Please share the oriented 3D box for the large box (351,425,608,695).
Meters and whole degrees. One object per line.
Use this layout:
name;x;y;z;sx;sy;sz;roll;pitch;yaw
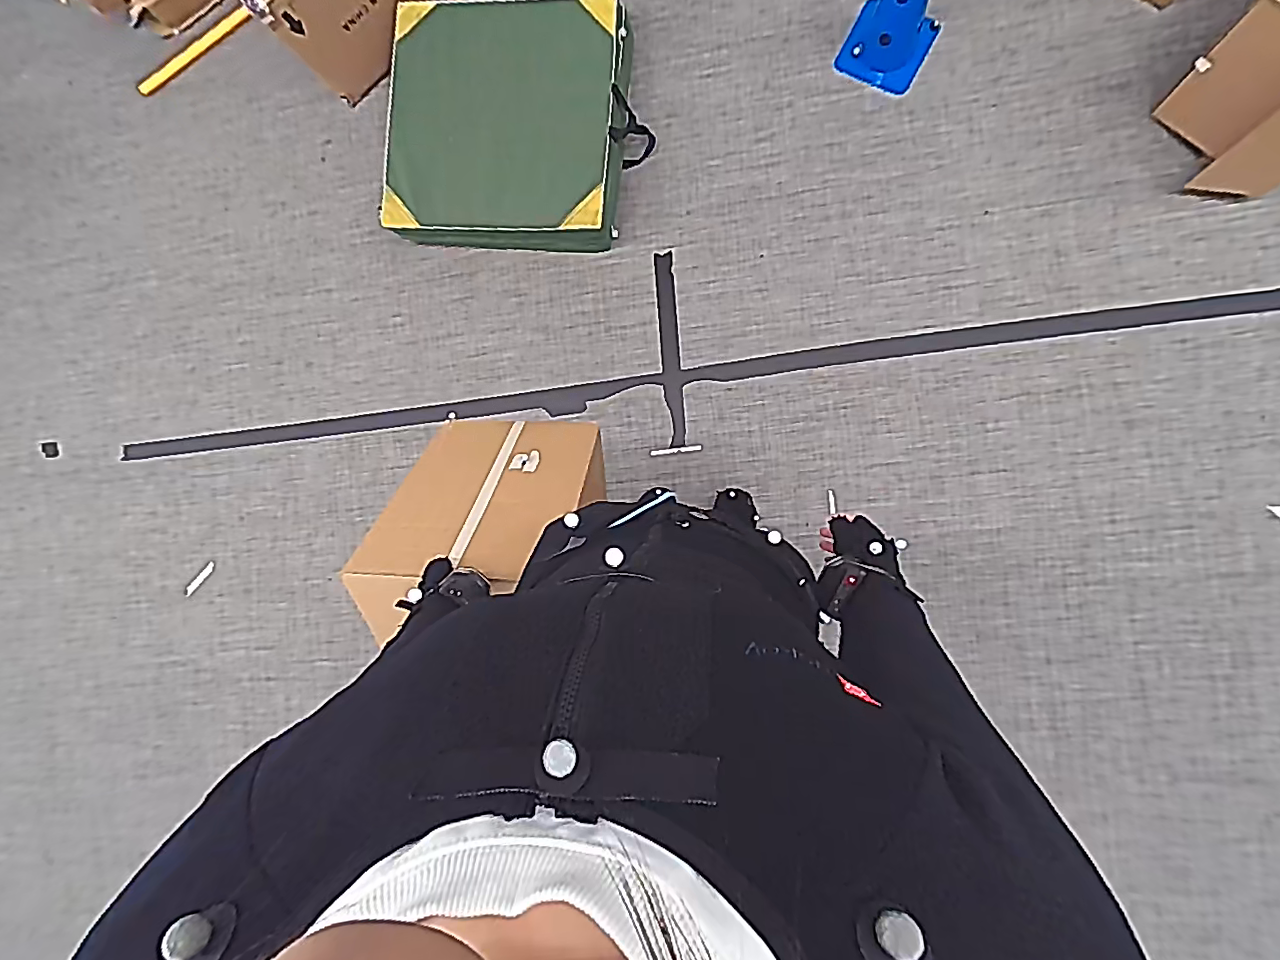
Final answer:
large box;-0.247;0.137;1.012;0.320;0.408;0.320;3;128;6
